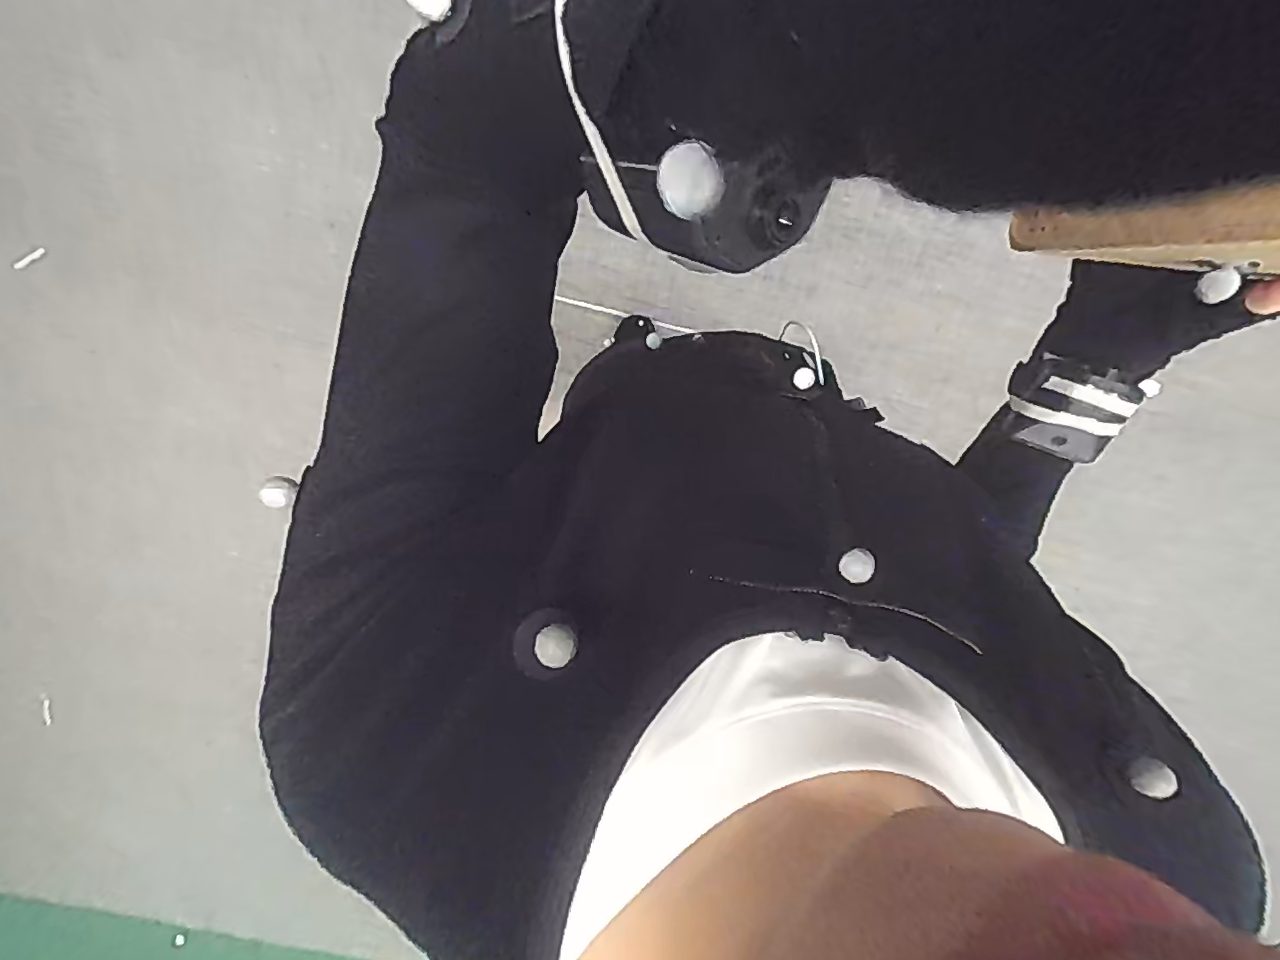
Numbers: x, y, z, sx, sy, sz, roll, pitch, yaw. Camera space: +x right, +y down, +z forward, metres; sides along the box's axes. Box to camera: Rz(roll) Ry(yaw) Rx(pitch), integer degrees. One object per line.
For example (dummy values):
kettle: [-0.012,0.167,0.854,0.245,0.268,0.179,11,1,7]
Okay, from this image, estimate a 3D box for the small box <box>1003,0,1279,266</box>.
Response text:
small box: [0.285,-0.166,0.188,0.179,0.176,0.168,1,113,-13]
